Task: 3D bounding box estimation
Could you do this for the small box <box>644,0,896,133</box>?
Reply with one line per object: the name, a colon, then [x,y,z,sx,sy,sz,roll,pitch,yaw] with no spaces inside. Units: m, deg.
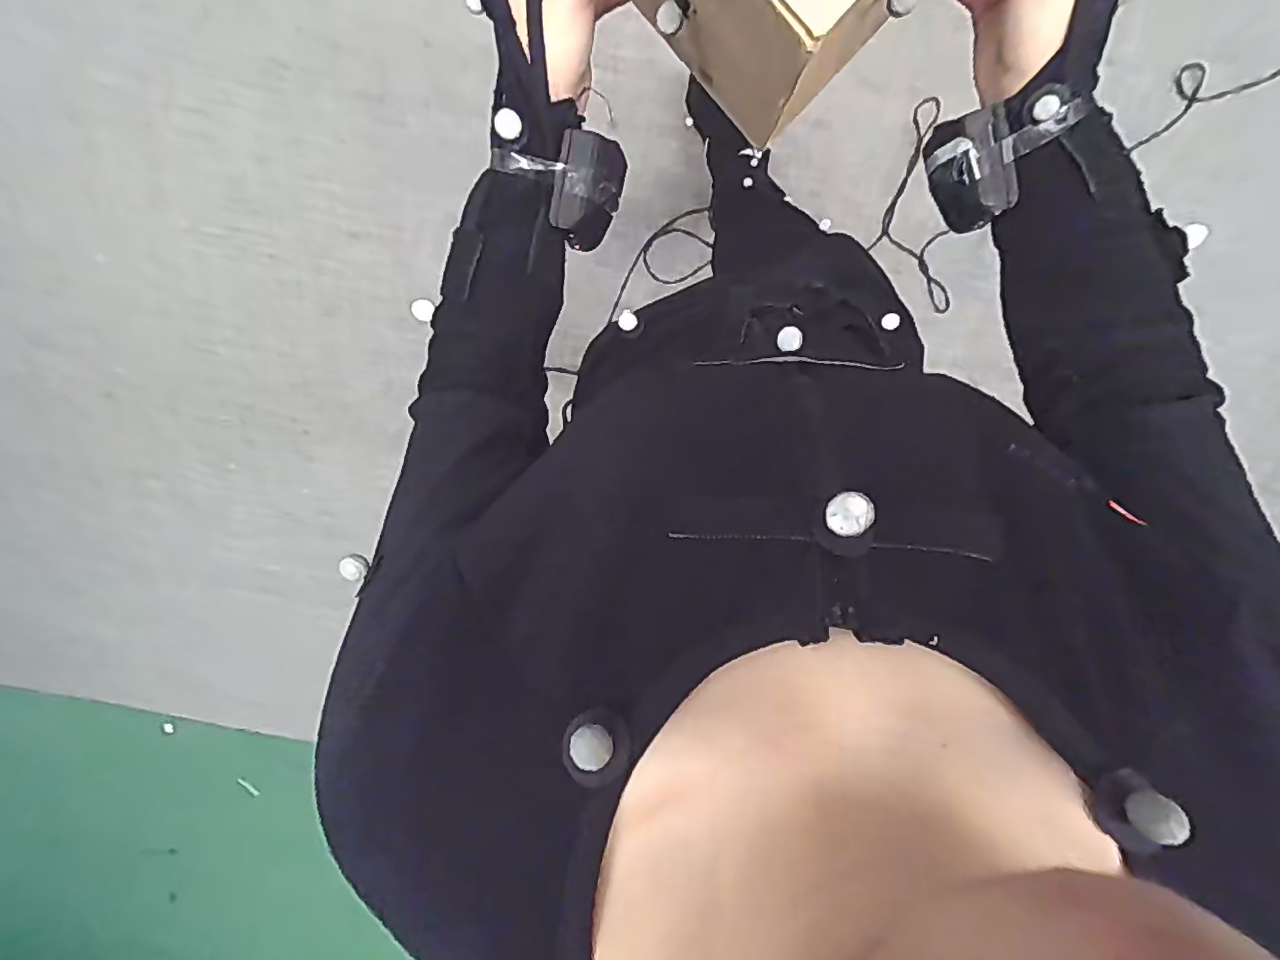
small box: [0.082,-0.329,0.282,0.168,0.176,0.179,44,106,-9]
